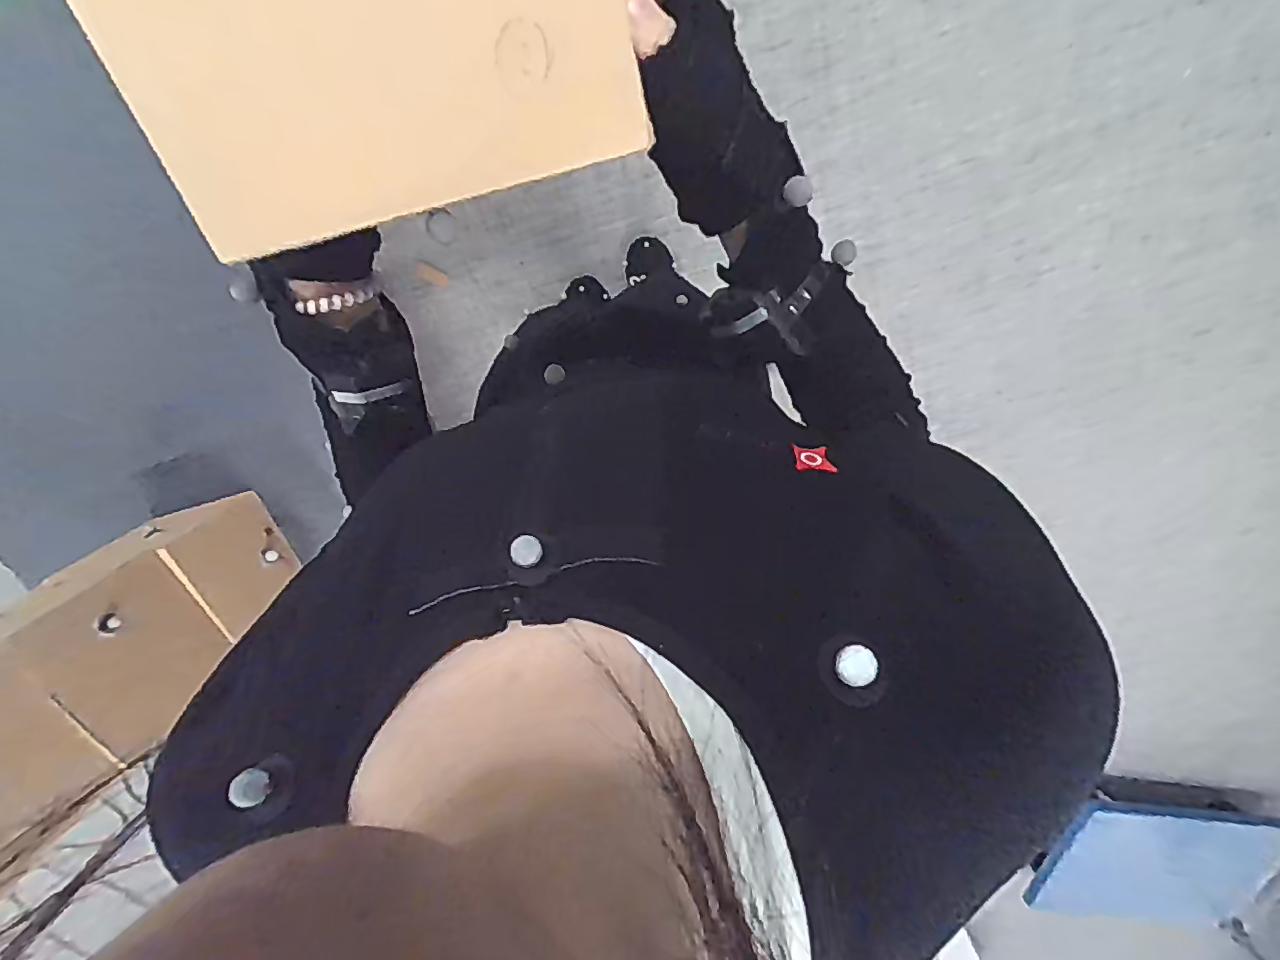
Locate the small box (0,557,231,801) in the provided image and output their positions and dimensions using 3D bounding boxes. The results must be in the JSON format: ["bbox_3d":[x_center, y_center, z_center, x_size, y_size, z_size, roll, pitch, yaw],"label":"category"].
[{"bbox_3d":[-0.615,0.203,0.590,0.168,0.176,0.179,-17,112,8],"label":"small box"}]

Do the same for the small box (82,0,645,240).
[{"bbox_3d":[-0.093,-0.217,0.217,0.168,0.176,0.179,-12,119,6],"label":"small box"}]

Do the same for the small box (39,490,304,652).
[{"bbox_3d":[-0.614,0.135,0.738,0.179,0.176,0.168,-16,112,6],"label":"small box"}]
